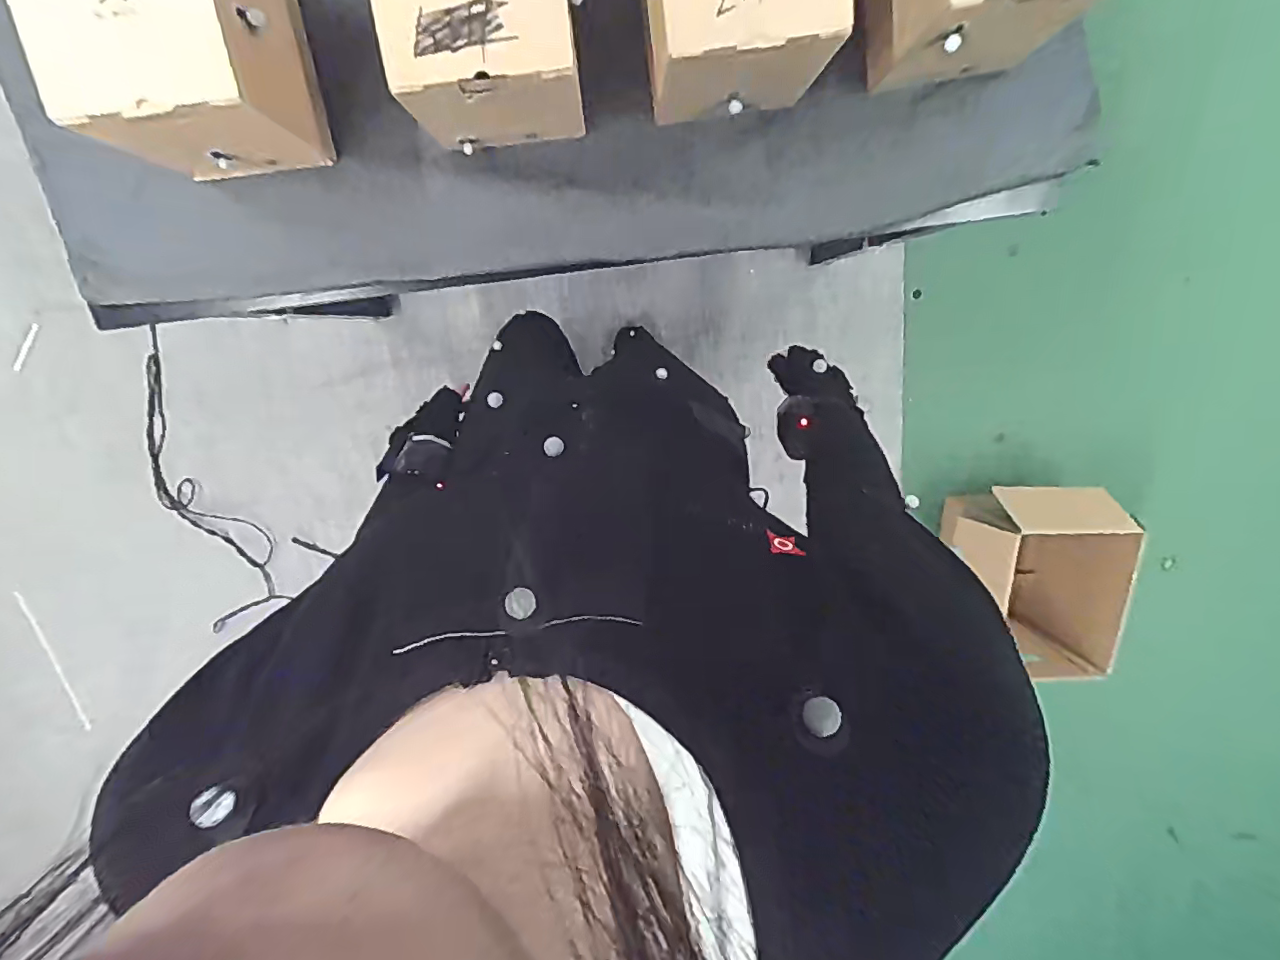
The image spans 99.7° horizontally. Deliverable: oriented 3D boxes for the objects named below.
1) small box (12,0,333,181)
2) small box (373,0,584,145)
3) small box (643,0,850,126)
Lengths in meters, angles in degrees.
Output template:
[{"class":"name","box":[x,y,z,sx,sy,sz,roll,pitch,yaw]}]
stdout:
[{"class":"small box","box":[-0.435,-0.417,0.522,0.168,0.176,0.179,-8,105,-1]},{"class":"small box","box":[-0.149,-0.449,0.527,0.168,0.176,0.179,-7,105,-1]},{"class":"small box","box":[0.091,-0.483,0.530,0.168,0.176,0.179,-8,106,1]}]
